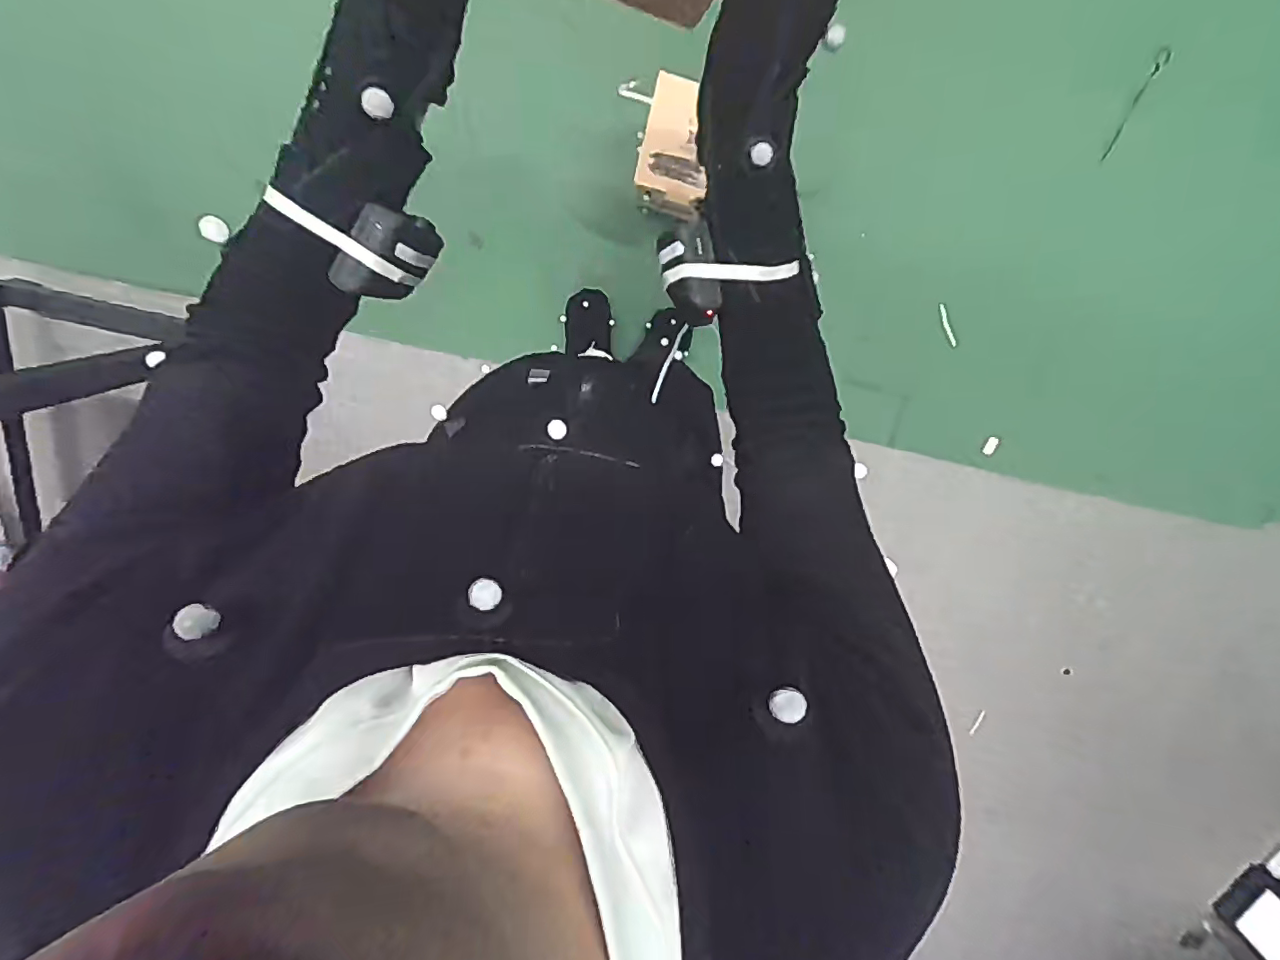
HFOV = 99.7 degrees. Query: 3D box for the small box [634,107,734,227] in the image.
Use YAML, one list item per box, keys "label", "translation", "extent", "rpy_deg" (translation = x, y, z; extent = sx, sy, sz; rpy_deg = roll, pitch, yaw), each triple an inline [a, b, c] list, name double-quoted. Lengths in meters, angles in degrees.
- label: "small box"
  translation: [0.088, -0.665, 1.173]
  extent: [0.168, 0.176, 0.179]
  rpy_deg: [15, 110, -7]
